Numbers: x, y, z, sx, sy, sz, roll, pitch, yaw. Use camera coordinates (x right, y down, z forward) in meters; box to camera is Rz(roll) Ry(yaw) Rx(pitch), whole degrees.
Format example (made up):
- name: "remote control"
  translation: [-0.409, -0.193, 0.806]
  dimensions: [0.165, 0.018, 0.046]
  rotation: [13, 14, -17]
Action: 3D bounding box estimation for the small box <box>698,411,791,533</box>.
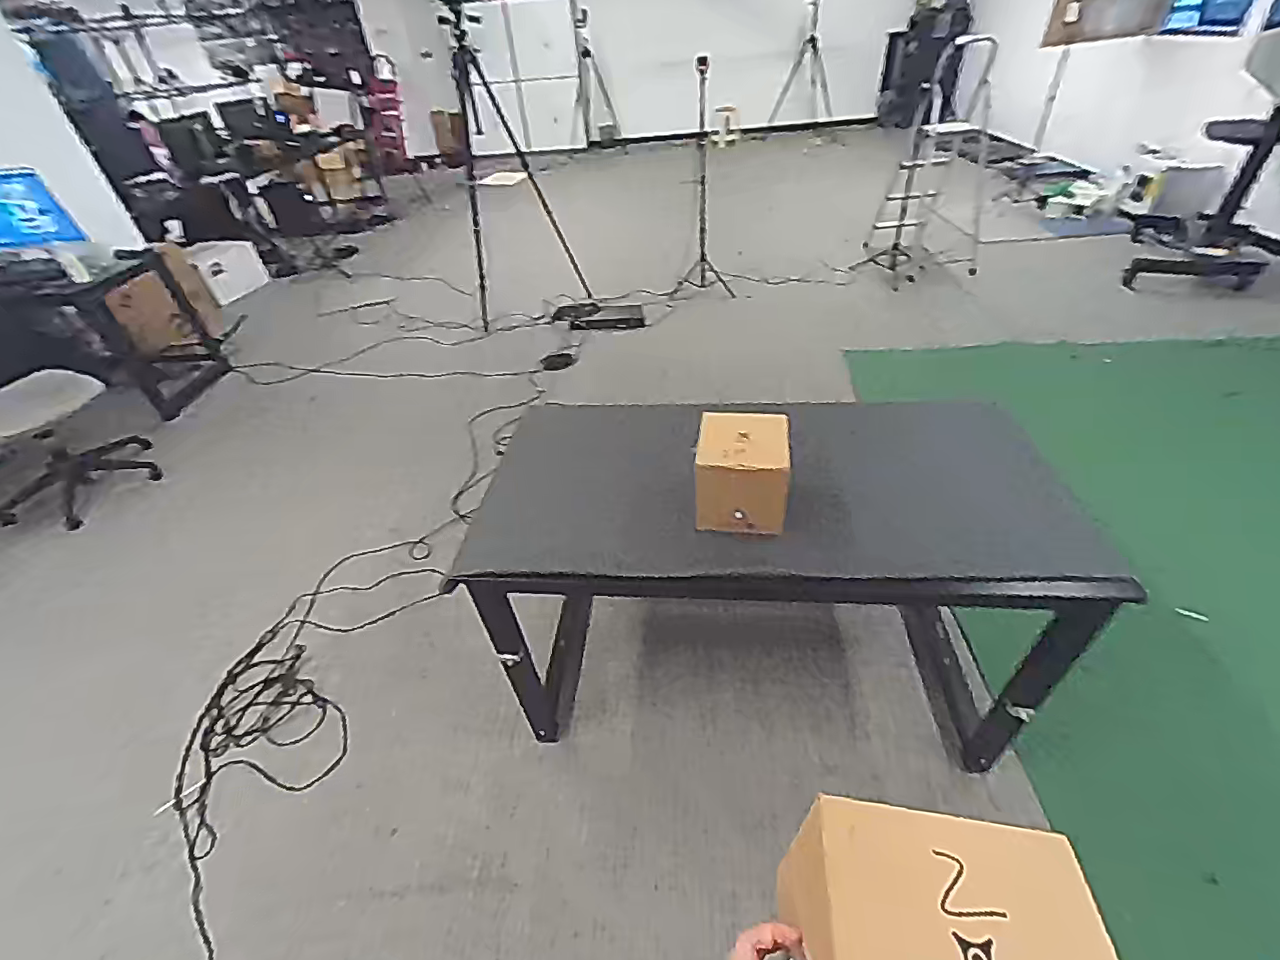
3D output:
- name: "small box"
  translation: [0.205, -0.019, 1.070]
  dimensions: [0.168, 0.176, 0.179]
  rotation: [3, 40, 11]
